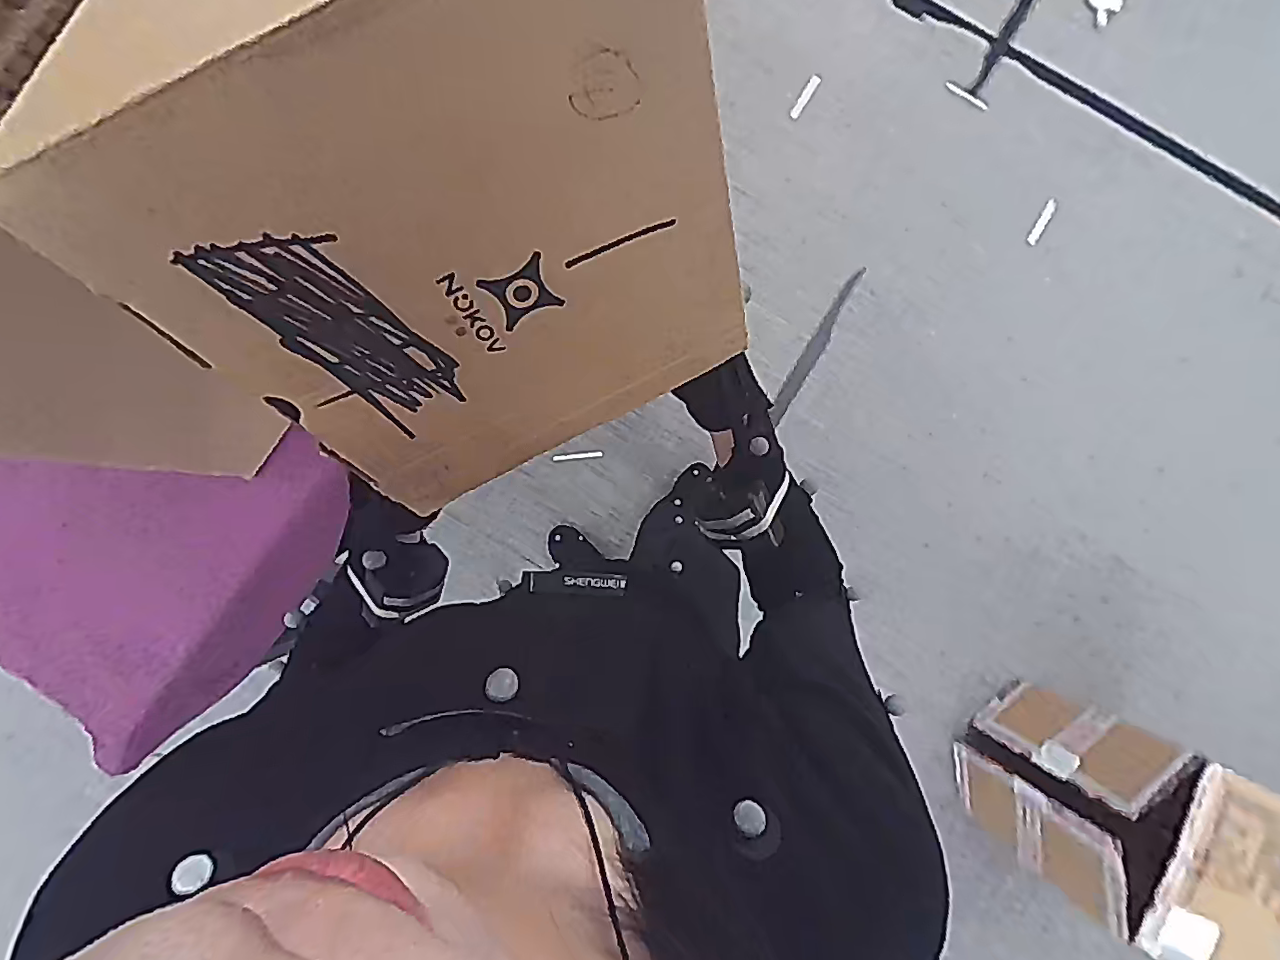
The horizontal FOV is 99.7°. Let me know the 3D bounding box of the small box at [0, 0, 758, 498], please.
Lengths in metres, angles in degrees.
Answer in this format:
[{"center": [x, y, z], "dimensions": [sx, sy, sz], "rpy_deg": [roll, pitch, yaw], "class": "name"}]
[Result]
[{"center": [-0.072, -0.128, 0.221], "dimensions": [0.179, 0.168, 0.176], "rpy_deg": [-26, 58, 1], "class": "small box"}]
